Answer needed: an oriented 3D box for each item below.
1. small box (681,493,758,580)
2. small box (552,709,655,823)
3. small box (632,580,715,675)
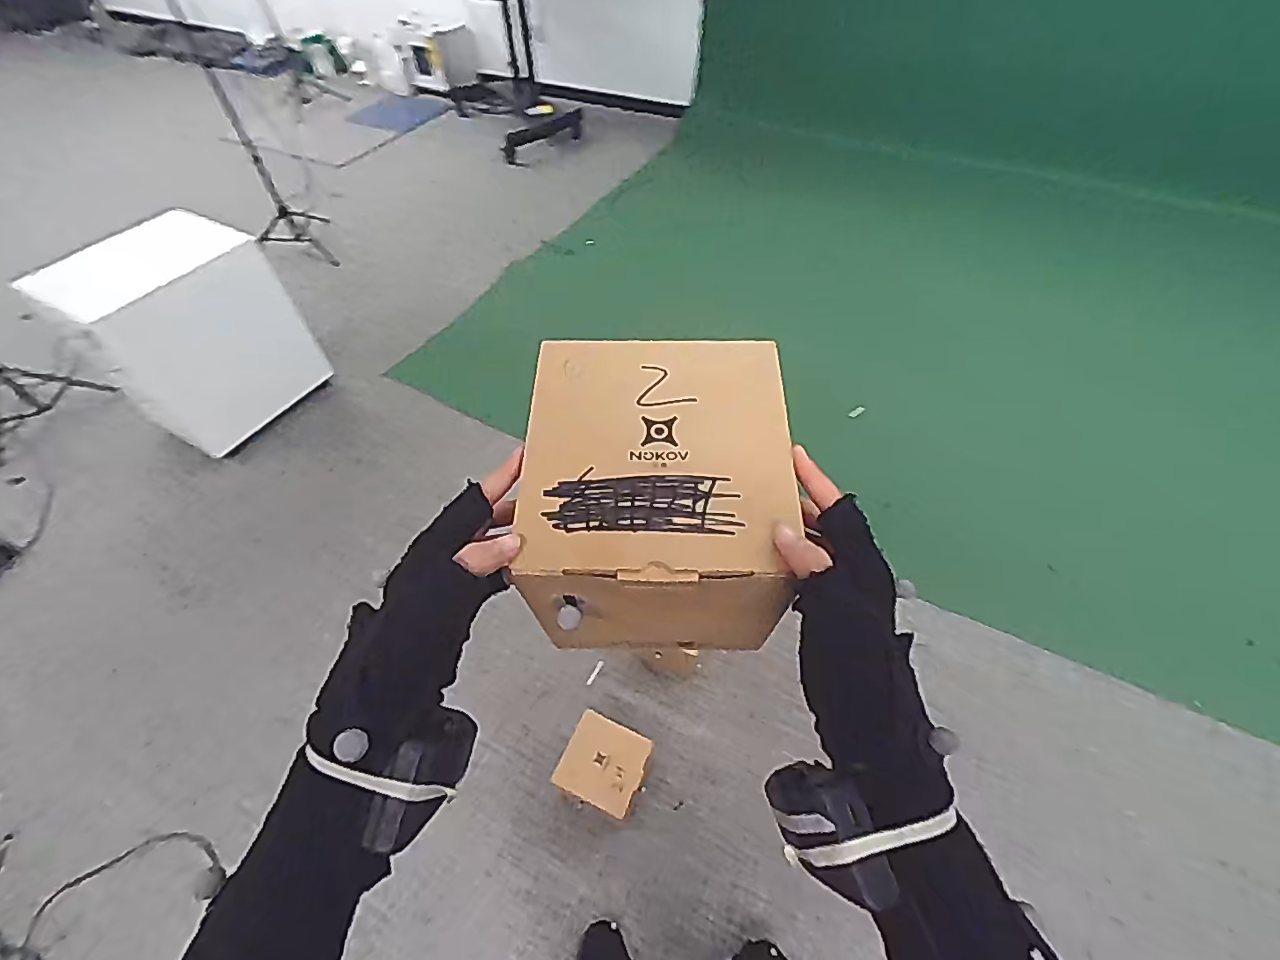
[{"bbox_3d":[0.234,0.176,1.635,0.179,0.176,0.168,23,56,16],"label":"small box"},{"bbox_3d":[-0.079,0.663,1.243,0.179,0.176,0.168,21,55,14],"label":"small box"},{"bbox_3d":[0.089,0.401,1.454,0.179,0.176,0.168,18,53,14],"label":"small box"}]
